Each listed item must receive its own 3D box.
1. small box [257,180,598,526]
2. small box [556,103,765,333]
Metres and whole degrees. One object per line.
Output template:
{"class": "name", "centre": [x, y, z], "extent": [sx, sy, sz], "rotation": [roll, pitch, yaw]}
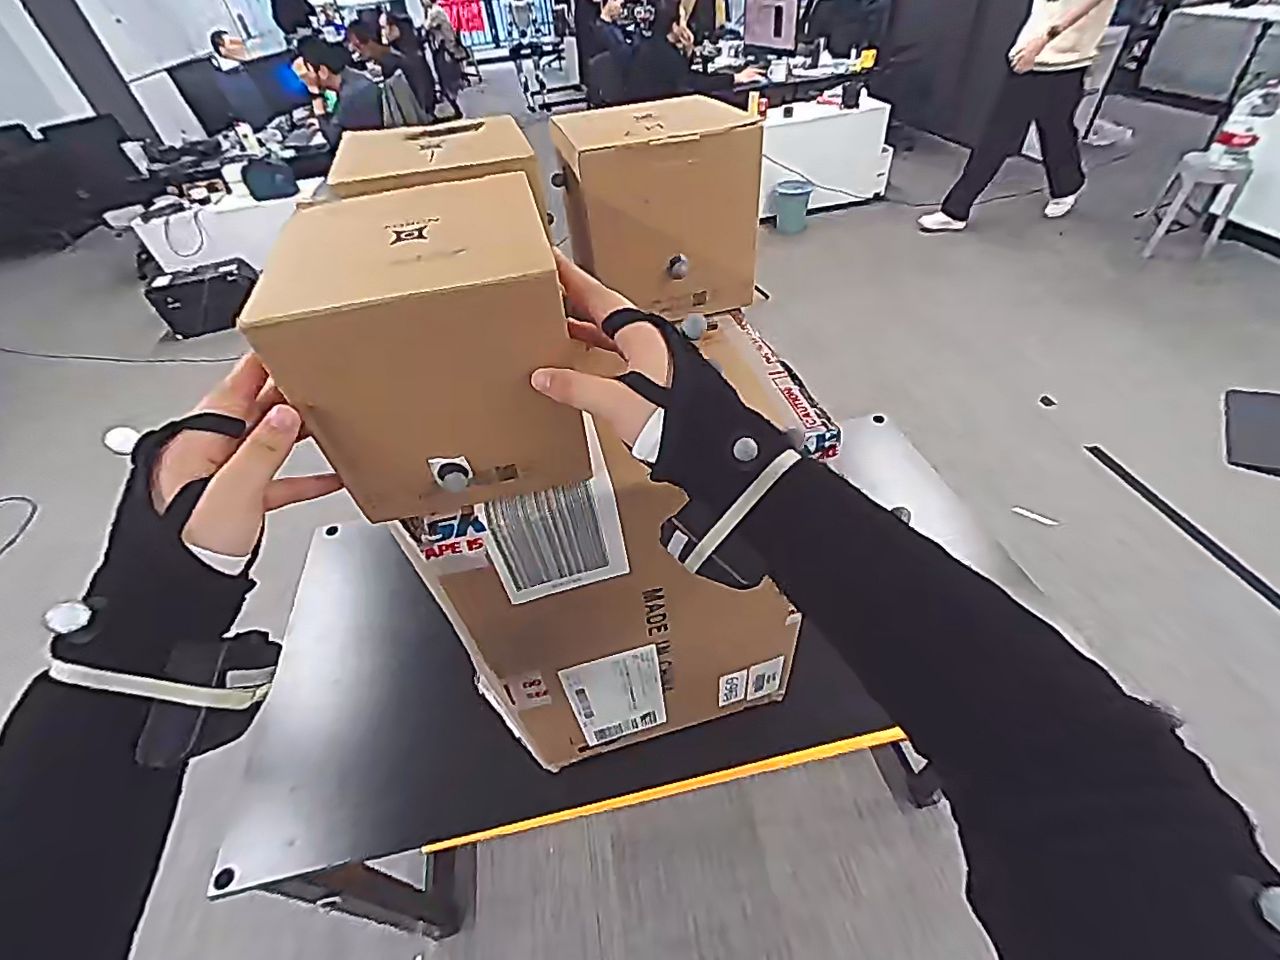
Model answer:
{"class": "small box", "centre": [-0.134, -0.095, 0.400], "extent": [0.168, 0.176, 0.179], "rotation": [-14, 47, -8]}
{"class": "small box", "centre": [0.016, -0.278, 0.570], "extent": [0.168, 0.176, 0.179], "rotation": [-14, 43, -7]}
